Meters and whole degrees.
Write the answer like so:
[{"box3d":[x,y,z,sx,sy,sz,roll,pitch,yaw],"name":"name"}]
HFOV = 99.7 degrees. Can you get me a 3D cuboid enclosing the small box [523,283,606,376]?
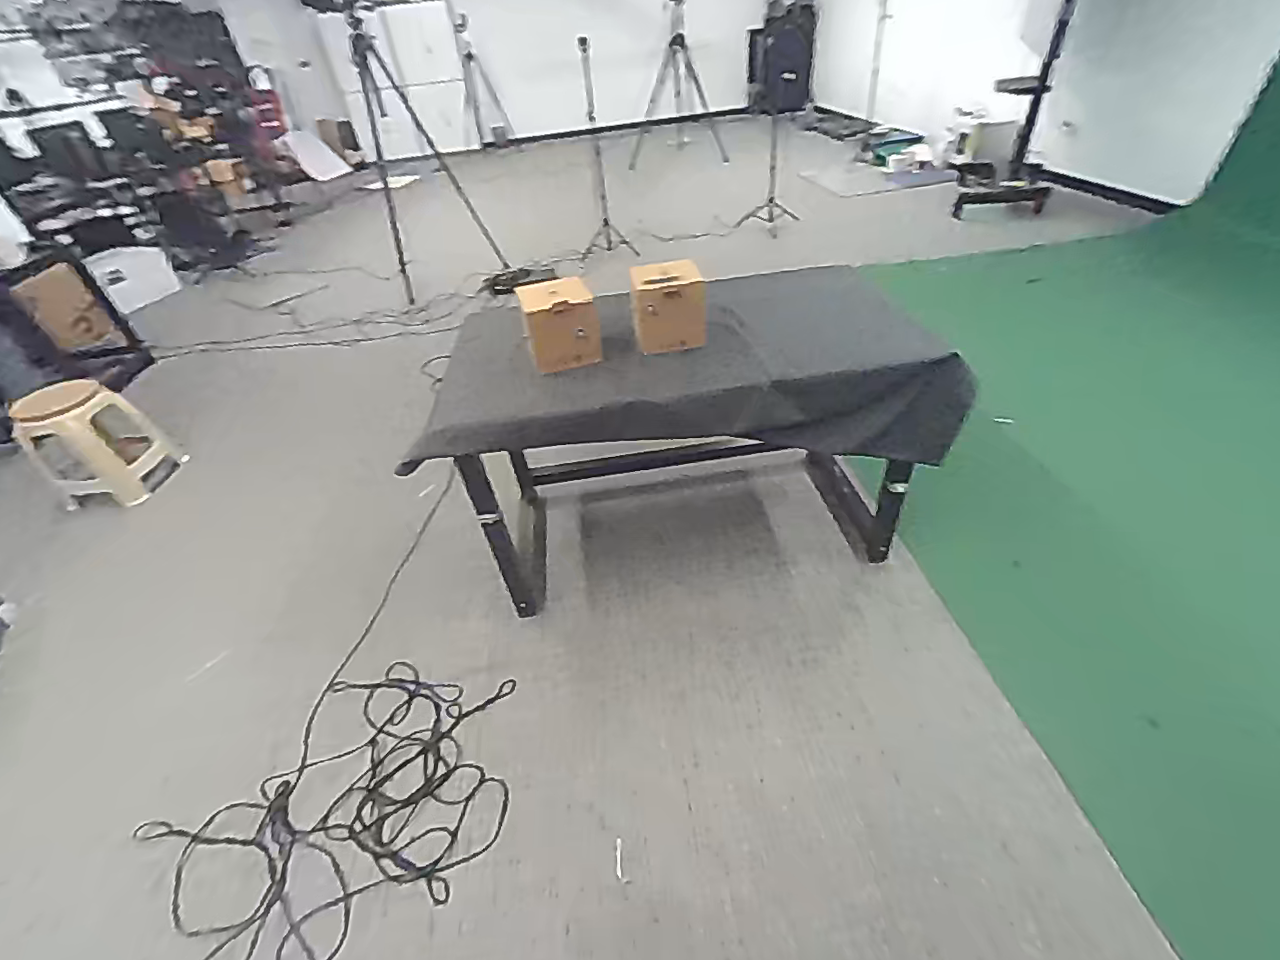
[{"box3d":[-0.189,-0.377,1.370,0.168,0.176,0.179,-15,39,-11],"name":"small box"}]
